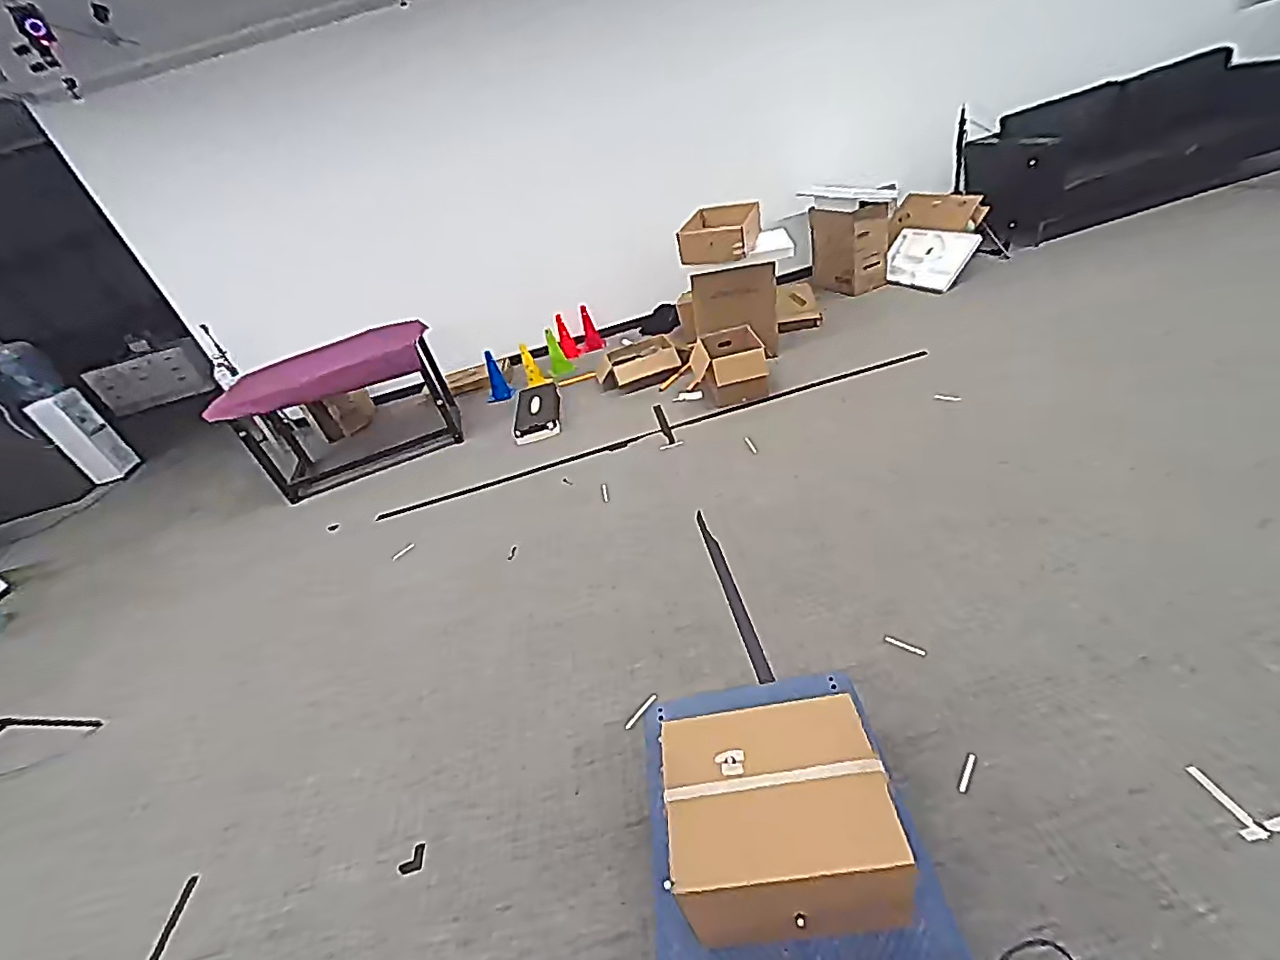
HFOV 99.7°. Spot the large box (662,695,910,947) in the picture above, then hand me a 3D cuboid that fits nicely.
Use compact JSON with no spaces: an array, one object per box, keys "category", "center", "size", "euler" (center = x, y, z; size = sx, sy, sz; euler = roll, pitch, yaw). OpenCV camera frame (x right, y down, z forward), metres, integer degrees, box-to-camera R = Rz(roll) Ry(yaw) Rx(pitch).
[{"category":"large box","center":[0.285,0.700,1.113],"size":[0.408,0.320,0.320],"euler":[-13,33,7]}]
